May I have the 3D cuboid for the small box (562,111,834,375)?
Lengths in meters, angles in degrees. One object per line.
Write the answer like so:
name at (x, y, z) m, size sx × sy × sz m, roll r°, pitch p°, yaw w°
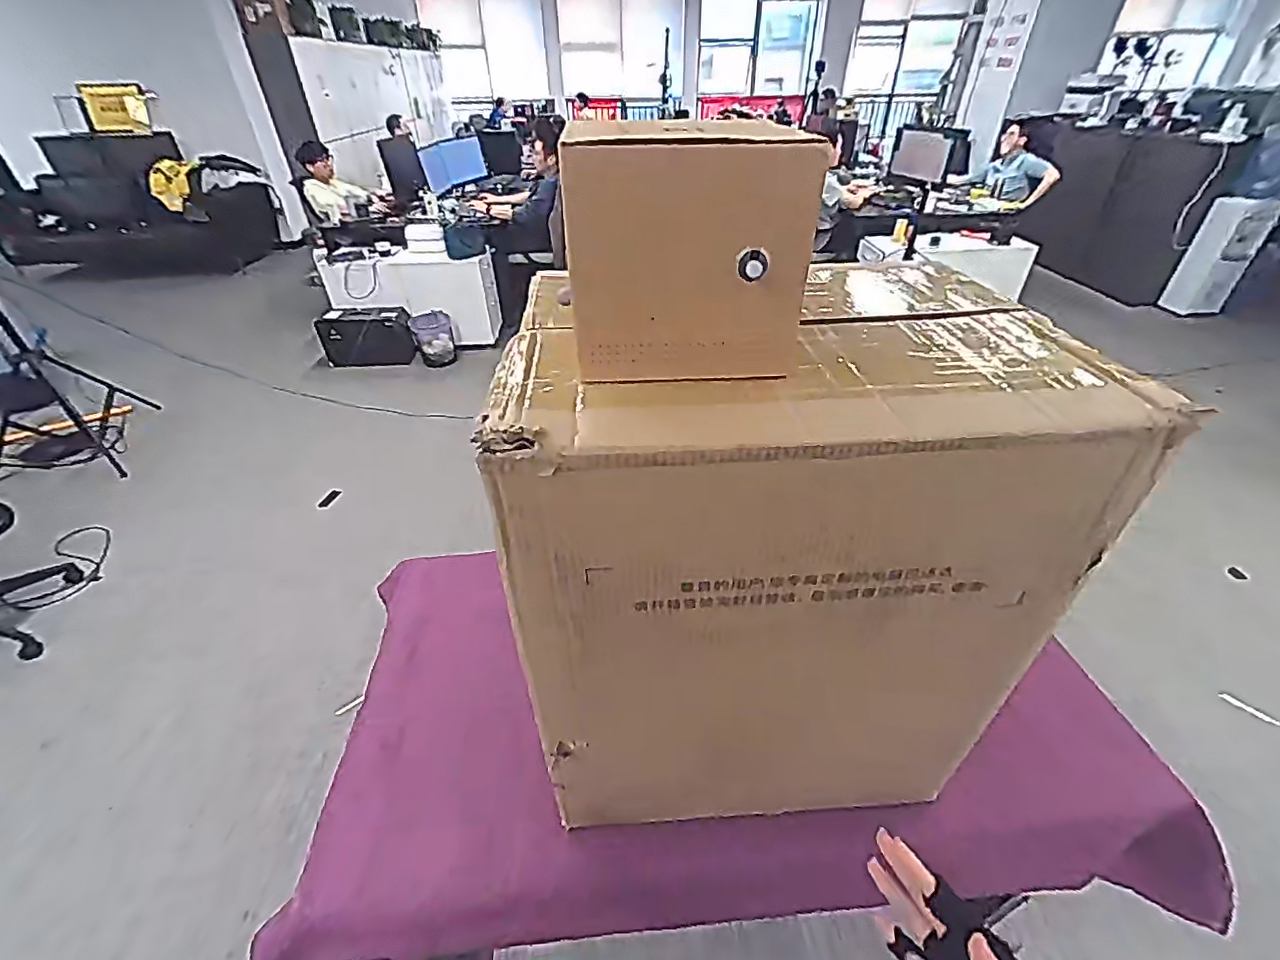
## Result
small box at (0.033, -0.198, 0.449) m, size 0.179 × 0.176 × 0.168 m, roll -3°, pitch 37°, yaw -3°
